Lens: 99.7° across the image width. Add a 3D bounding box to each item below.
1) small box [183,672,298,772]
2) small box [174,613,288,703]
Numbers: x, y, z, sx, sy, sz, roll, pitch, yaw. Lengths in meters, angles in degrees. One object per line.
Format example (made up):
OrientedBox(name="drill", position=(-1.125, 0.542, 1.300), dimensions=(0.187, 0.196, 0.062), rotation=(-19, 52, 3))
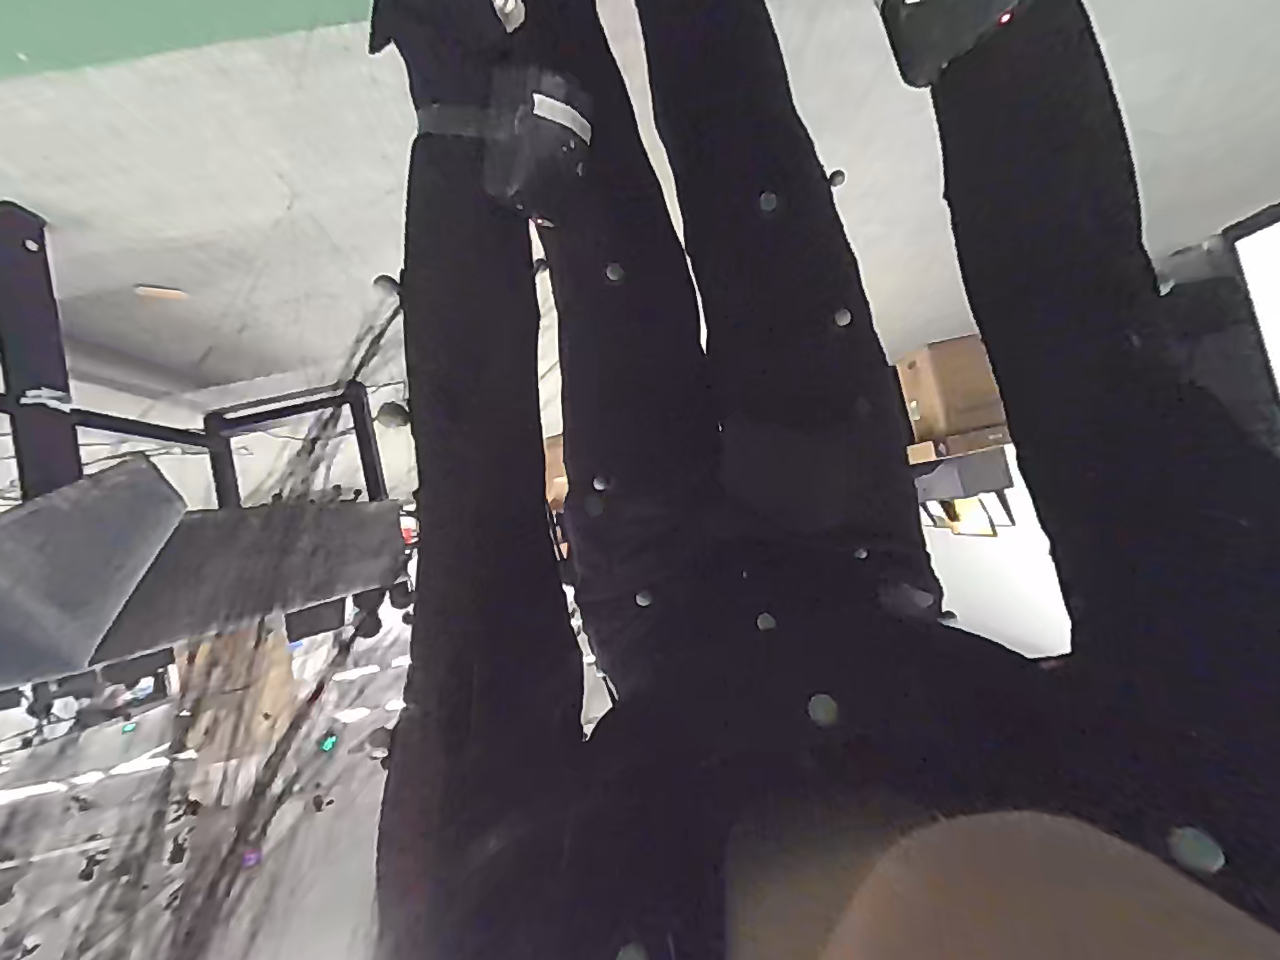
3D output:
OrientedBox(name="small box", position=(-1.021, 0.610, 1.385), dimensions=(0.168, 0.176, 0.179), rotation=(-11, 176, -1))
OrientedBox(name="small box", position=(-1.052, 0.450, 1.394), dimensions=(0.179, 0.176, 0.168), rotation=(-12, 176, -3))
